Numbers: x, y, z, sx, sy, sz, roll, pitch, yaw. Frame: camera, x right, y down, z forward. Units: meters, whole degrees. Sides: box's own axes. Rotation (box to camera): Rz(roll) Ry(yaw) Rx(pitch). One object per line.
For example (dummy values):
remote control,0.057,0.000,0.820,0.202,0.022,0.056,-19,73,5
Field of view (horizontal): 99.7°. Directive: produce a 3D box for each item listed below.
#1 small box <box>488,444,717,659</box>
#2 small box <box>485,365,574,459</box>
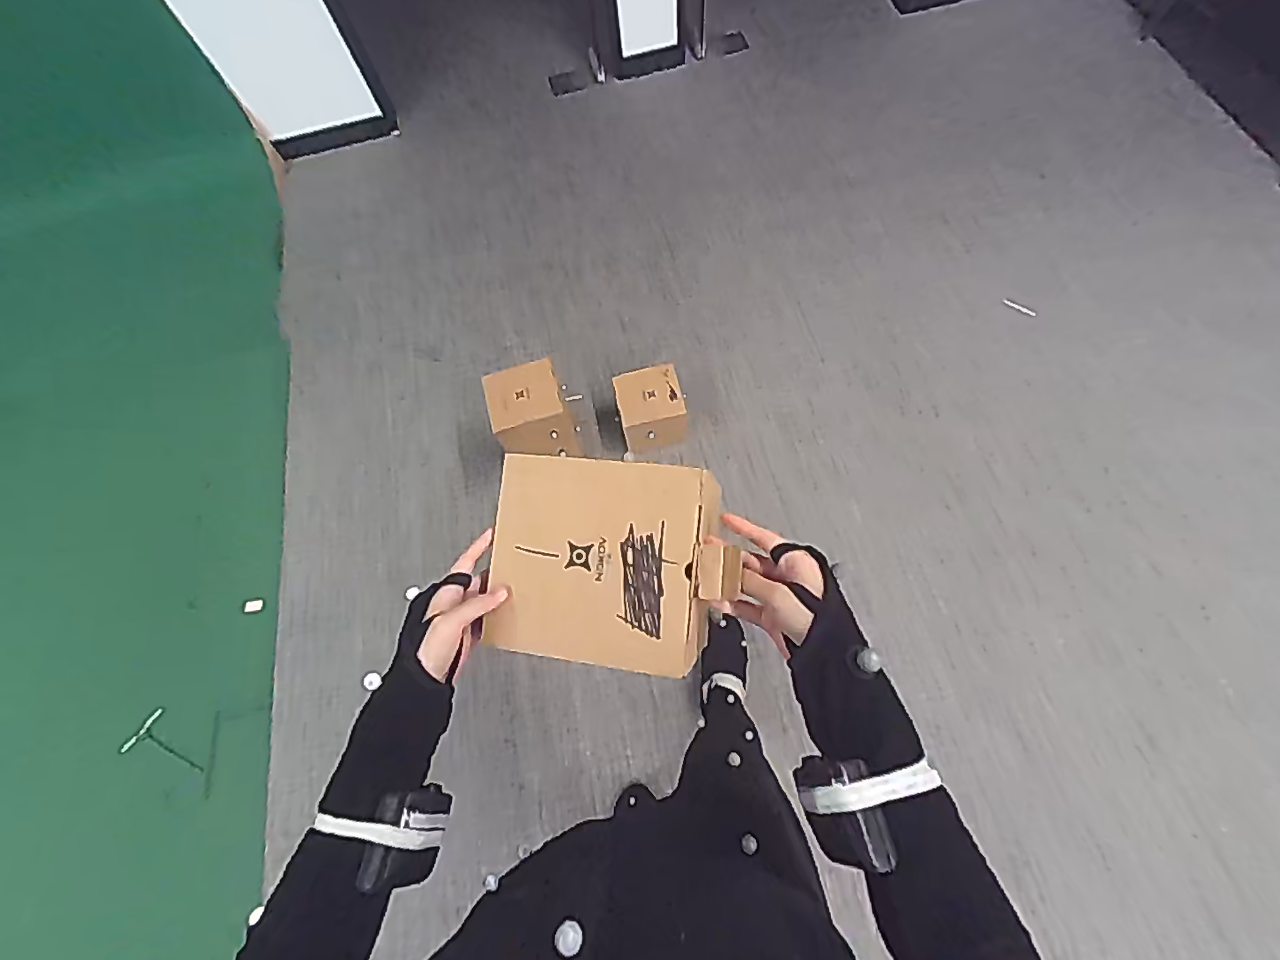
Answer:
small box,-0.021,0.065,0.533,0.179,0.176,0.168,5,83,14
small box,-0.275,-0.162,1.385,0.179,0.176,0.168,-17,66,-1
